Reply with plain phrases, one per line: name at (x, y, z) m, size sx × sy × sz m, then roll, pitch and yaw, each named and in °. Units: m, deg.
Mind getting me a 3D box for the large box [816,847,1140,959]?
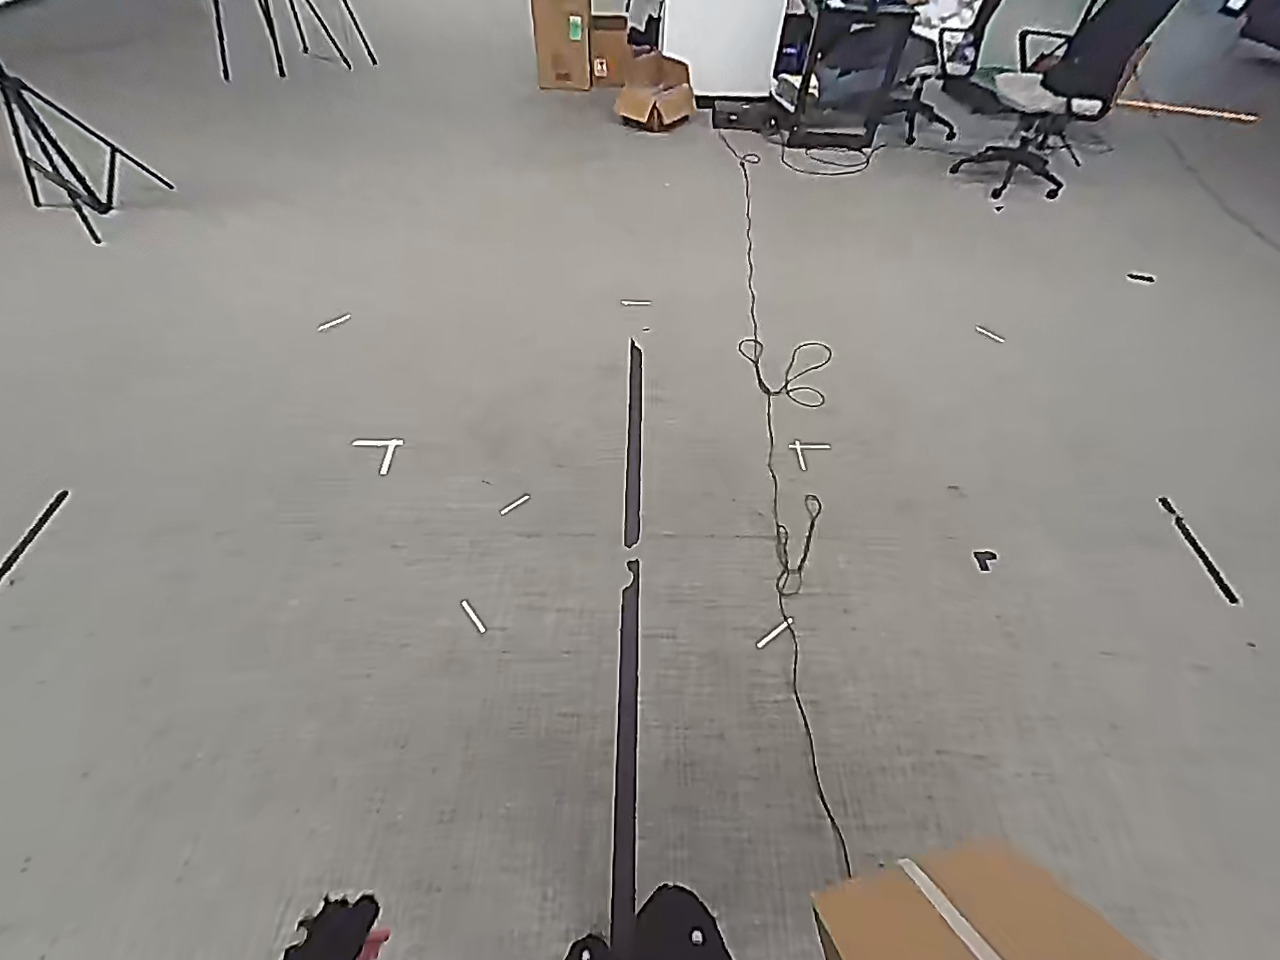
large box at (0.451, 0.722, 0.608) m, size 0.320 × 0.408 × 0.320 m, roll -14°, pitch 87°, yaw -5°
